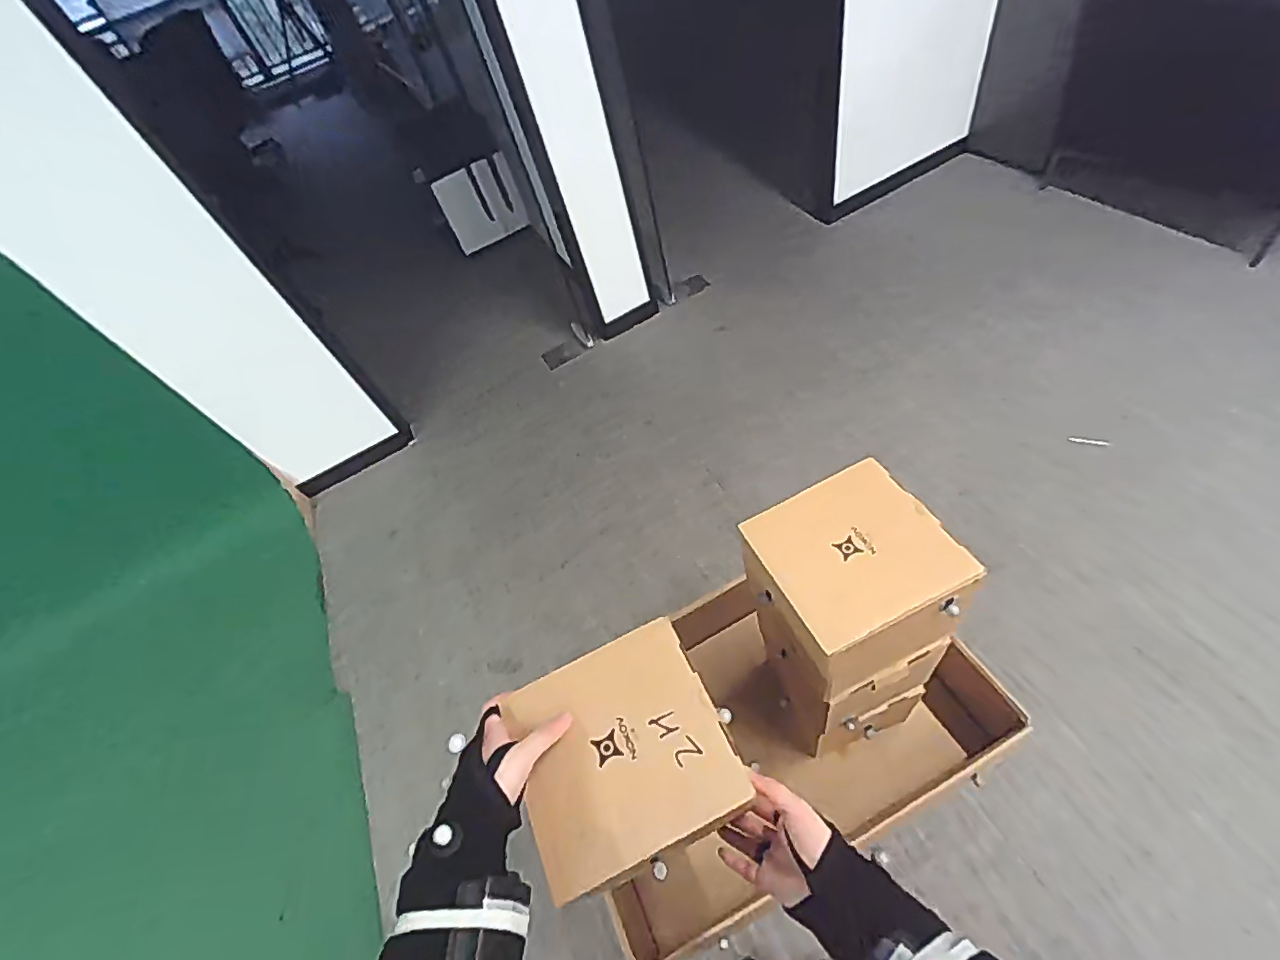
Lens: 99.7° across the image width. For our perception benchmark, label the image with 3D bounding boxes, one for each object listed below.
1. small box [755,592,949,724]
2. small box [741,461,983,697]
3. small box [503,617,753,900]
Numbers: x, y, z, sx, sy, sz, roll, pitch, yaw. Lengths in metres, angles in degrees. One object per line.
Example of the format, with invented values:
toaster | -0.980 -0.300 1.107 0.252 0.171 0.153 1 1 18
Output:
small box | 0.277 0.210 0.738 0.168 0.176 0.179 -26 51 -4
small box | 0.236 0.117 0.611 0.179 0.176 0.168 -26 52 -5
small box | -0.003 0.267 0.523 0.179 0.176 0.168 -26 56 -6
